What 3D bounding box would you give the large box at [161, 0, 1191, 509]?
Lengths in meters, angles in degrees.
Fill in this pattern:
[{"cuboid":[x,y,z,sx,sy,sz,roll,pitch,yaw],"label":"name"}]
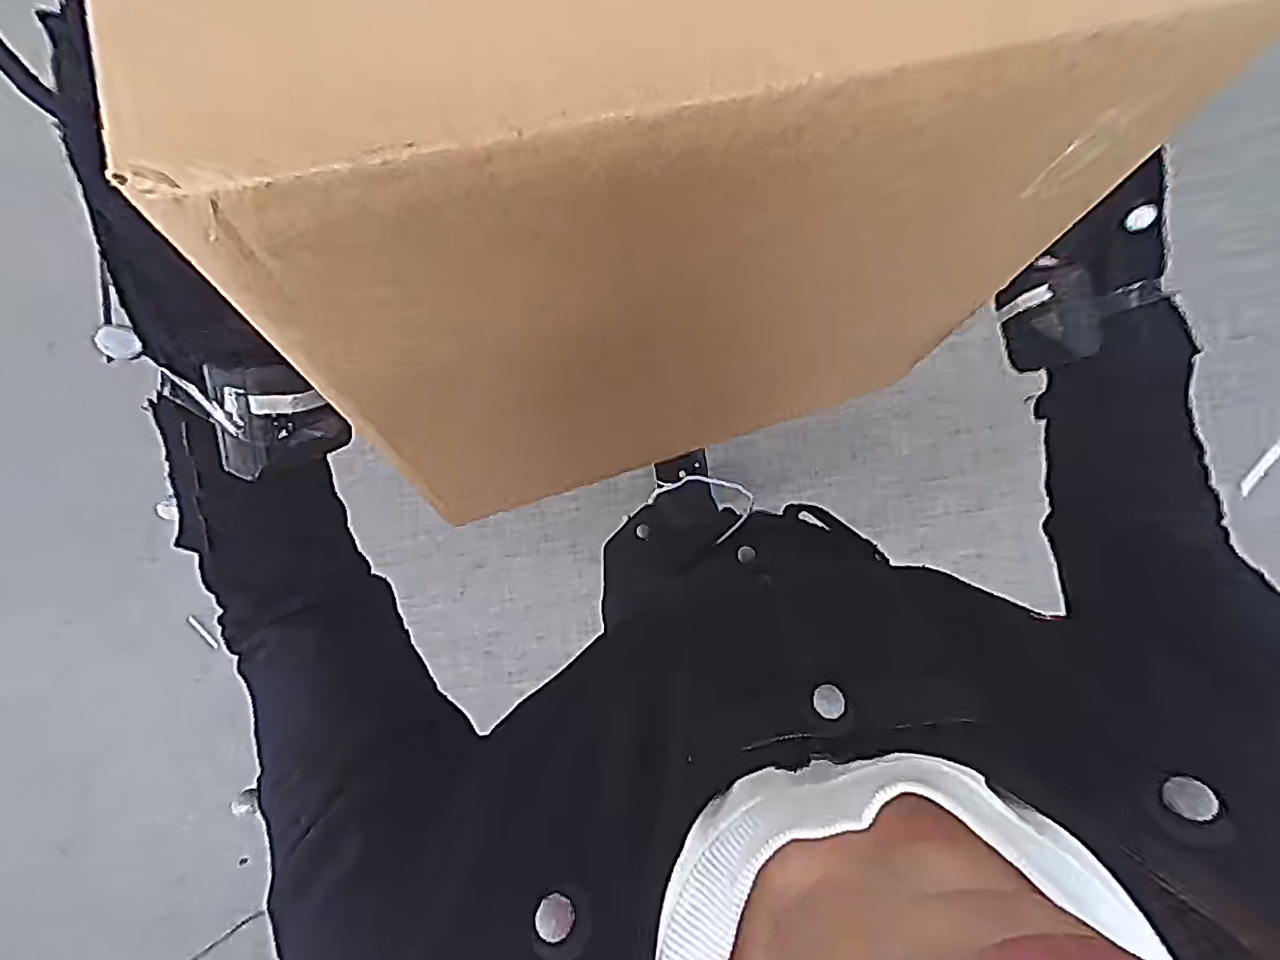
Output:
[{"cuboid":[-0.011,-0.218,0.373,0.408,0.320,0.320,-18,74,-13],"label":"large box"}]
